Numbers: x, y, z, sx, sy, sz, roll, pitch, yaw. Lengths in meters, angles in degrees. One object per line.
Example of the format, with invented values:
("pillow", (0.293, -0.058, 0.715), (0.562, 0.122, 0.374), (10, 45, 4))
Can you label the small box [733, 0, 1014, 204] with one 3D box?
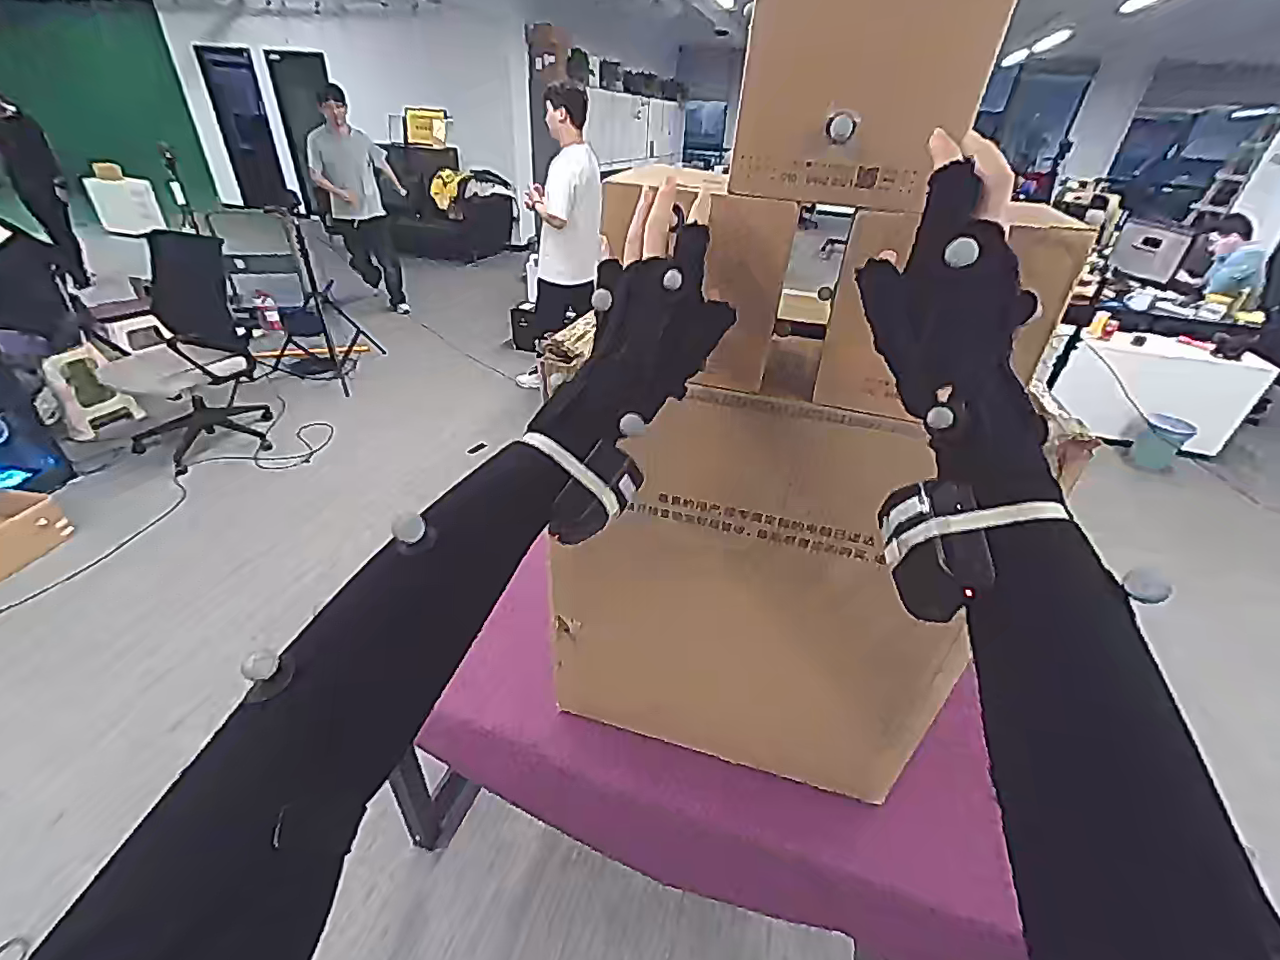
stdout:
("small box", (0.175, -0.334, 0.443), (0.168, 0.176, 0.179), (10, 35, 9))

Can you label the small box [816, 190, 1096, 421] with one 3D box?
("small box", (0.269, -0.171, 0.506), (0.168, 0.176, 0.179), (14, 34, 16))
